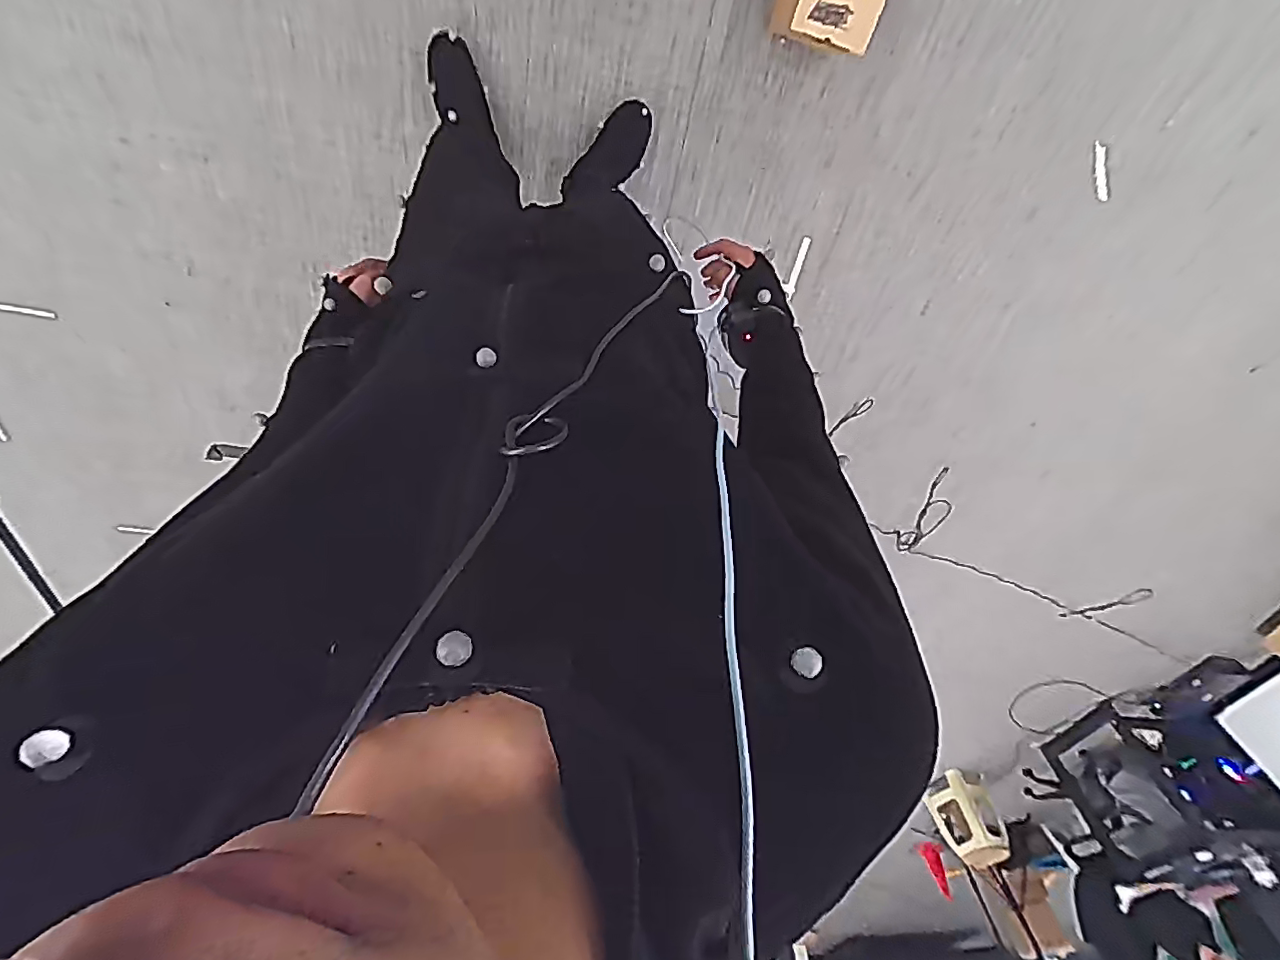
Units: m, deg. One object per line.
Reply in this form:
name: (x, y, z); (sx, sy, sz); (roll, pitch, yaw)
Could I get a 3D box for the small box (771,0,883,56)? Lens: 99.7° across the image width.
small box: (0.378, -0.973, 1.071); (0.168, 0.176, 0.179); (10, 126, -13)

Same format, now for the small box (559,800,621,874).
small box: (-0.168, 1.196, 1.816); (0.179, 0.176, 0.168); (9, 128, -12)
